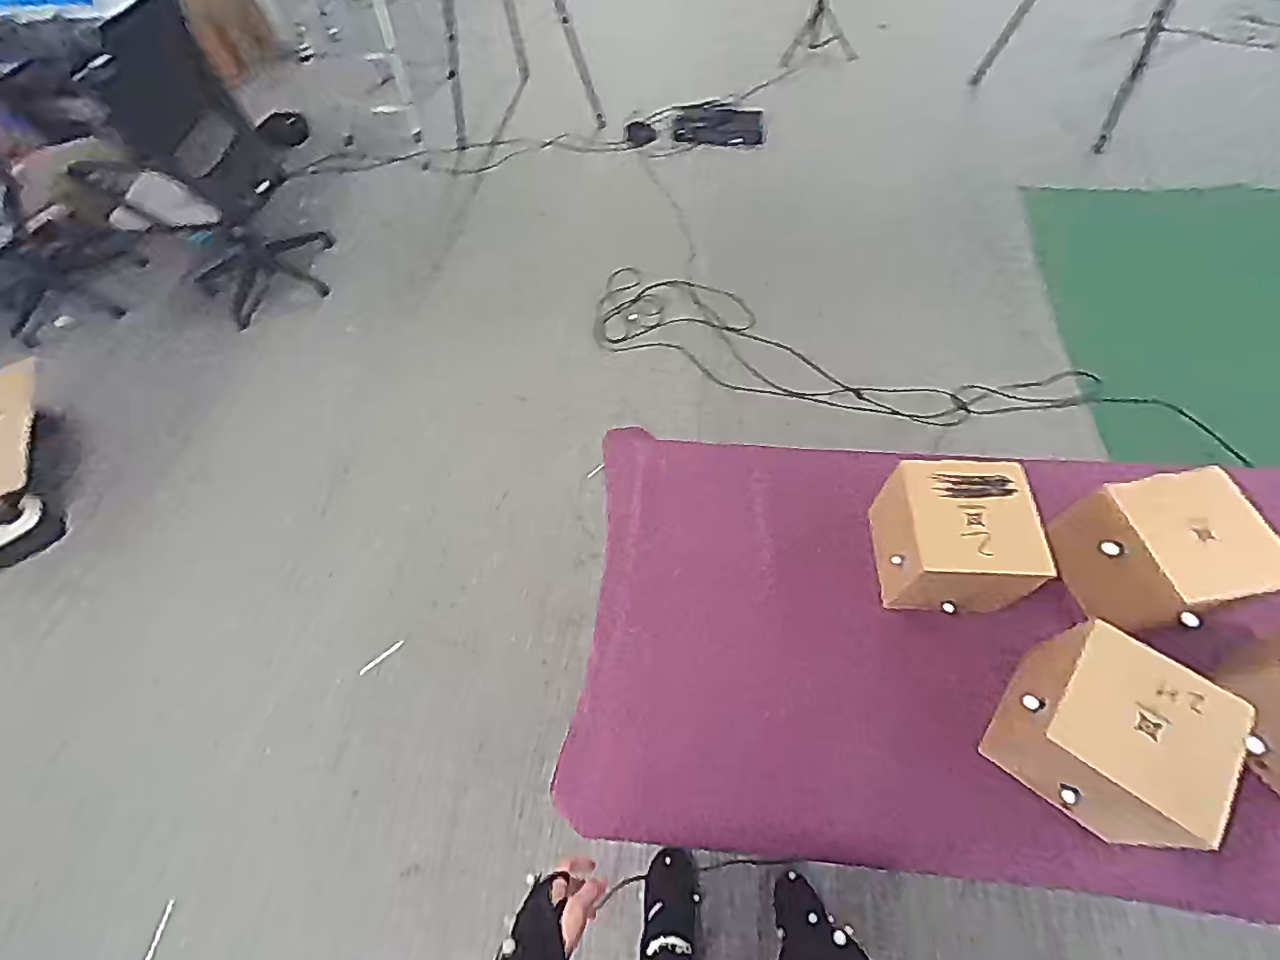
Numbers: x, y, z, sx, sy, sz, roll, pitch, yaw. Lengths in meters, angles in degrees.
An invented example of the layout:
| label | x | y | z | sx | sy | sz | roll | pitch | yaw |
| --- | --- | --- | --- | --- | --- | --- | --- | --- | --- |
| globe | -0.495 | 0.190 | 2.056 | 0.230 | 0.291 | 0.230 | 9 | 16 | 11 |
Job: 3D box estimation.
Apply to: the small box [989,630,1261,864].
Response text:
| label | x | y | z | sx | sy | sz | roll | pitch | yaw |
| --- | --- | --- | --- | --- | --- | --- | --- | --- | --- |
| small box | 0.567 | 0.322 | 0.659 | 0.168 | 0.176 | 0.179 | 36 | 67 | 23 |

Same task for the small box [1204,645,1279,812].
| label | x | y | z | sx | sy | sz | roll | pitch | yaw |
| --- | --- | --- | --- | --- | --- | --- | --- | --- | --- |
| small box | 0.850 | 0.295 | 0.654 | 0.179 | 0.176 | 0.168 | -26 | 60 | -10 |

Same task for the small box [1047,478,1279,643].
| label | x | y | z | sx | sy | sz | roll | pitch | yaw |
| --- | --- | --- | --- | --- | --- | --- | --- | --- | --- |
| small box | 0.741 | 0.123 | 0.770 | 0.168 | 0.176 | 0.179 | -9 | 59 | 0 |
